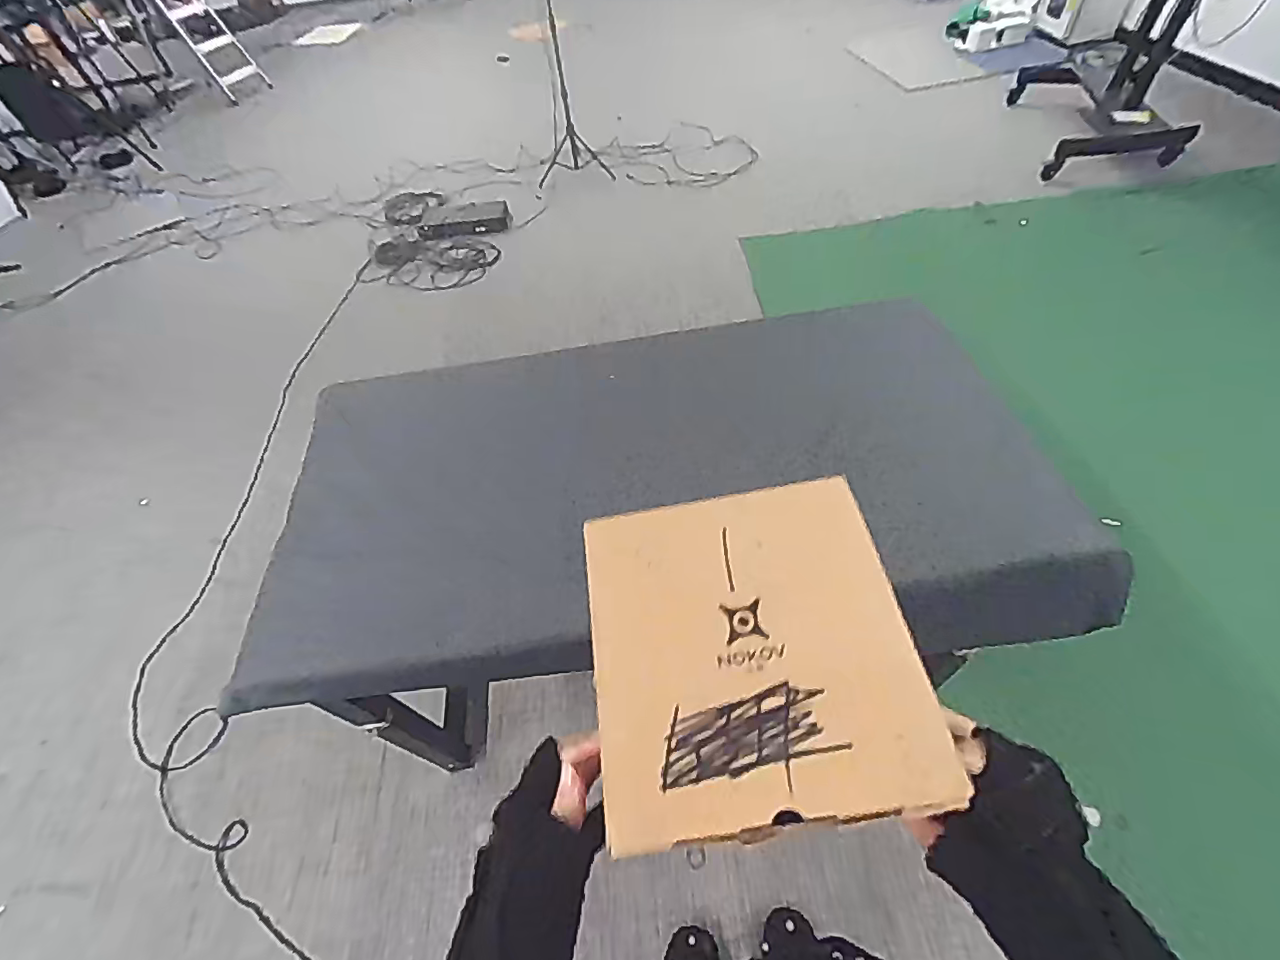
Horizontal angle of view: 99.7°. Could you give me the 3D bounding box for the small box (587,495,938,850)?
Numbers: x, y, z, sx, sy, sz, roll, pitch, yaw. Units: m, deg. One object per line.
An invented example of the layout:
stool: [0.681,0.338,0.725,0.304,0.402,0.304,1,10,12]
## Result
small box: [0.064,0.136,0.368,0.168,0.176,0.179,-9,55,3]
